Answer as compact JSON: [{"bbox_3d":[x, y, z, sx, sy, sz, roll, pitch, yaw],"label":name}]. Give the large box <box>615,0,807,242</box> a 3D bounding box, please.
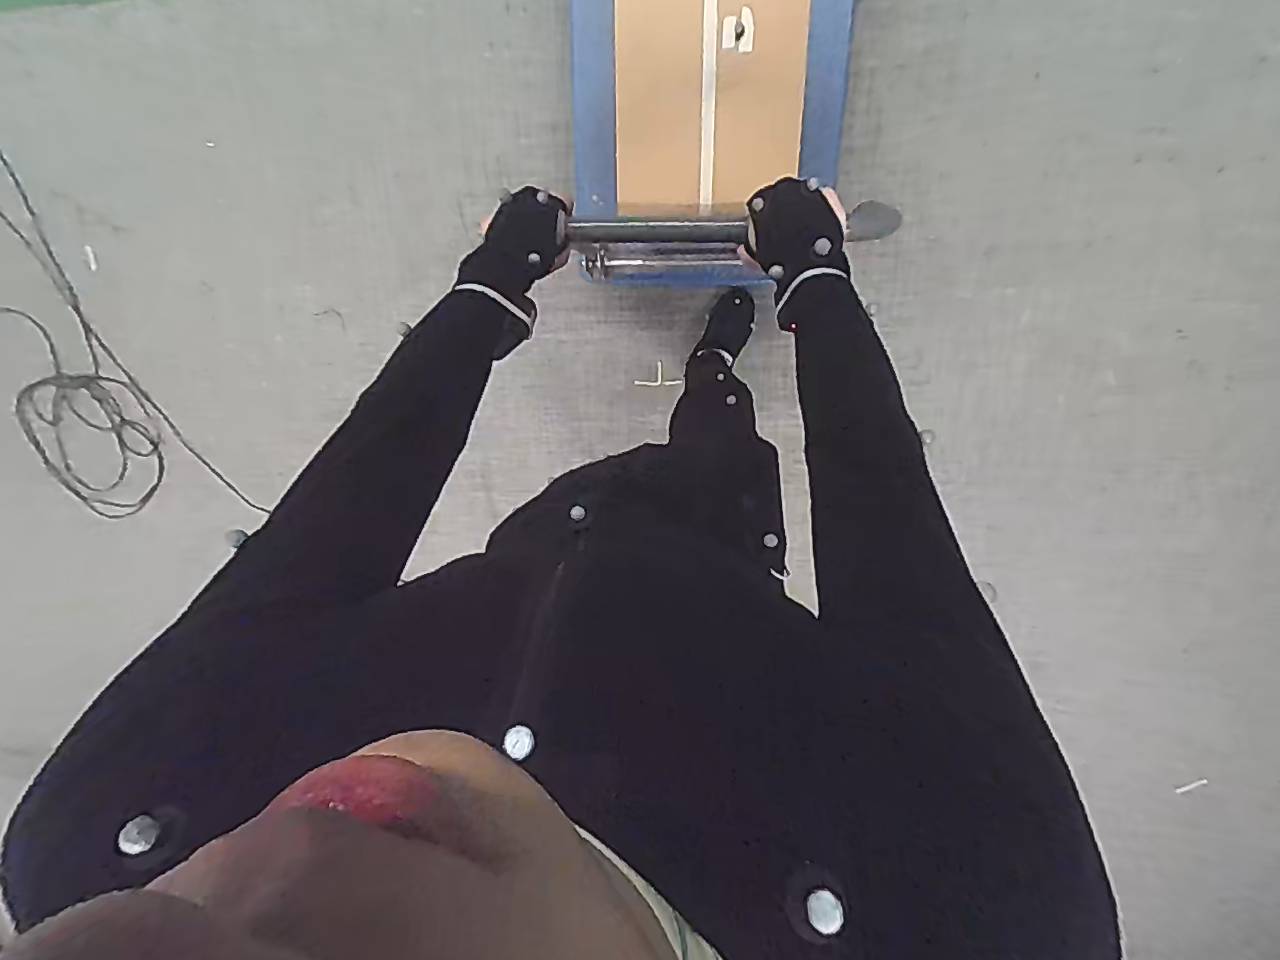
[{"bbox_3d":[0.136,-0.699,1.047,0.320,0.320,0.408,2,108,8],"label":"large box"}]
